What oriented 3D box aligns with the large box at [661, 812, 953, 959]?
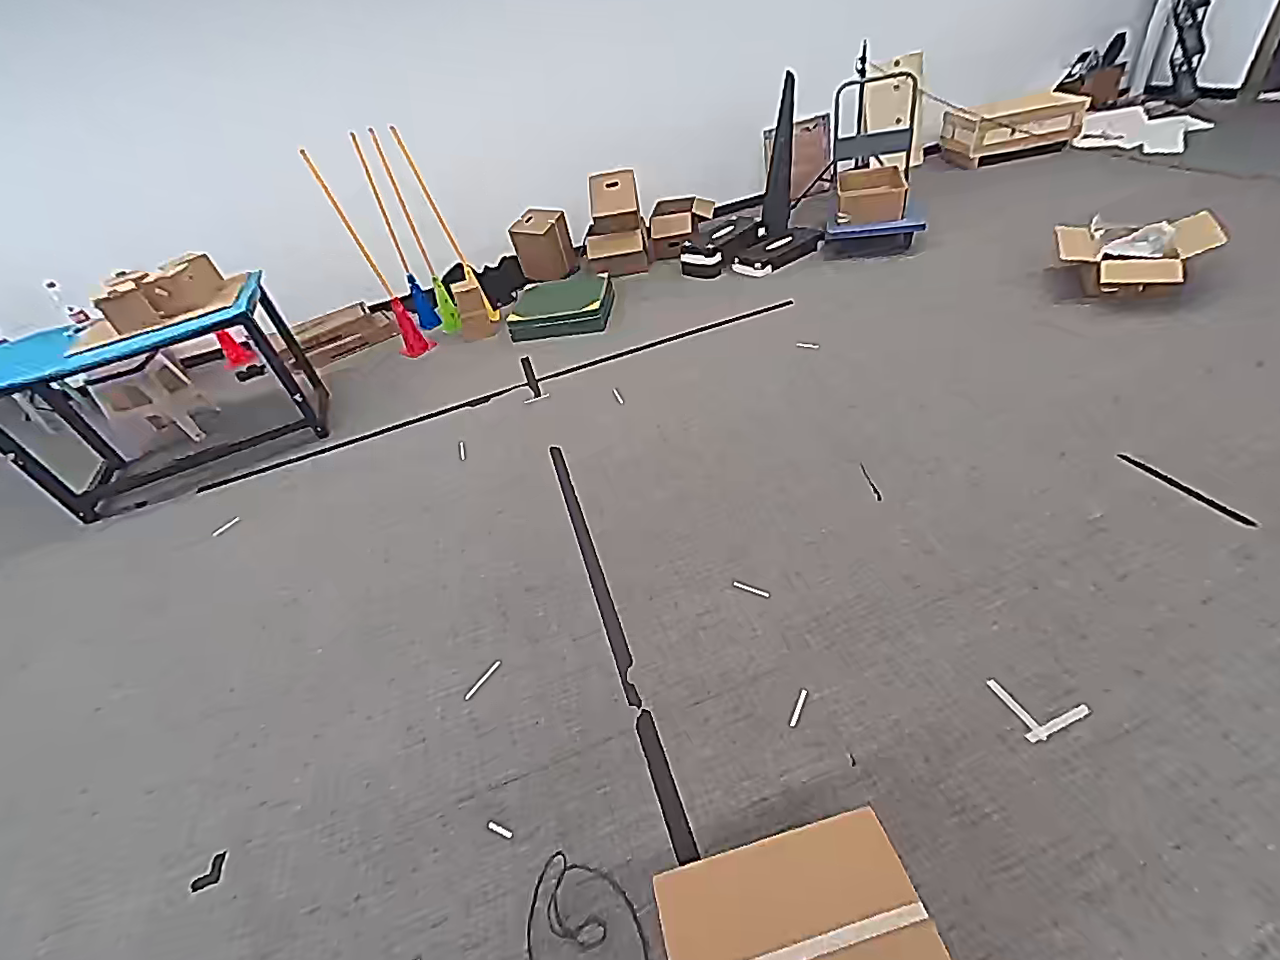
[{"bbox_3d":[0.280,0.839,0.908,0.408,0.320,0.320,-15,39,-4],"label":"large box"}]
